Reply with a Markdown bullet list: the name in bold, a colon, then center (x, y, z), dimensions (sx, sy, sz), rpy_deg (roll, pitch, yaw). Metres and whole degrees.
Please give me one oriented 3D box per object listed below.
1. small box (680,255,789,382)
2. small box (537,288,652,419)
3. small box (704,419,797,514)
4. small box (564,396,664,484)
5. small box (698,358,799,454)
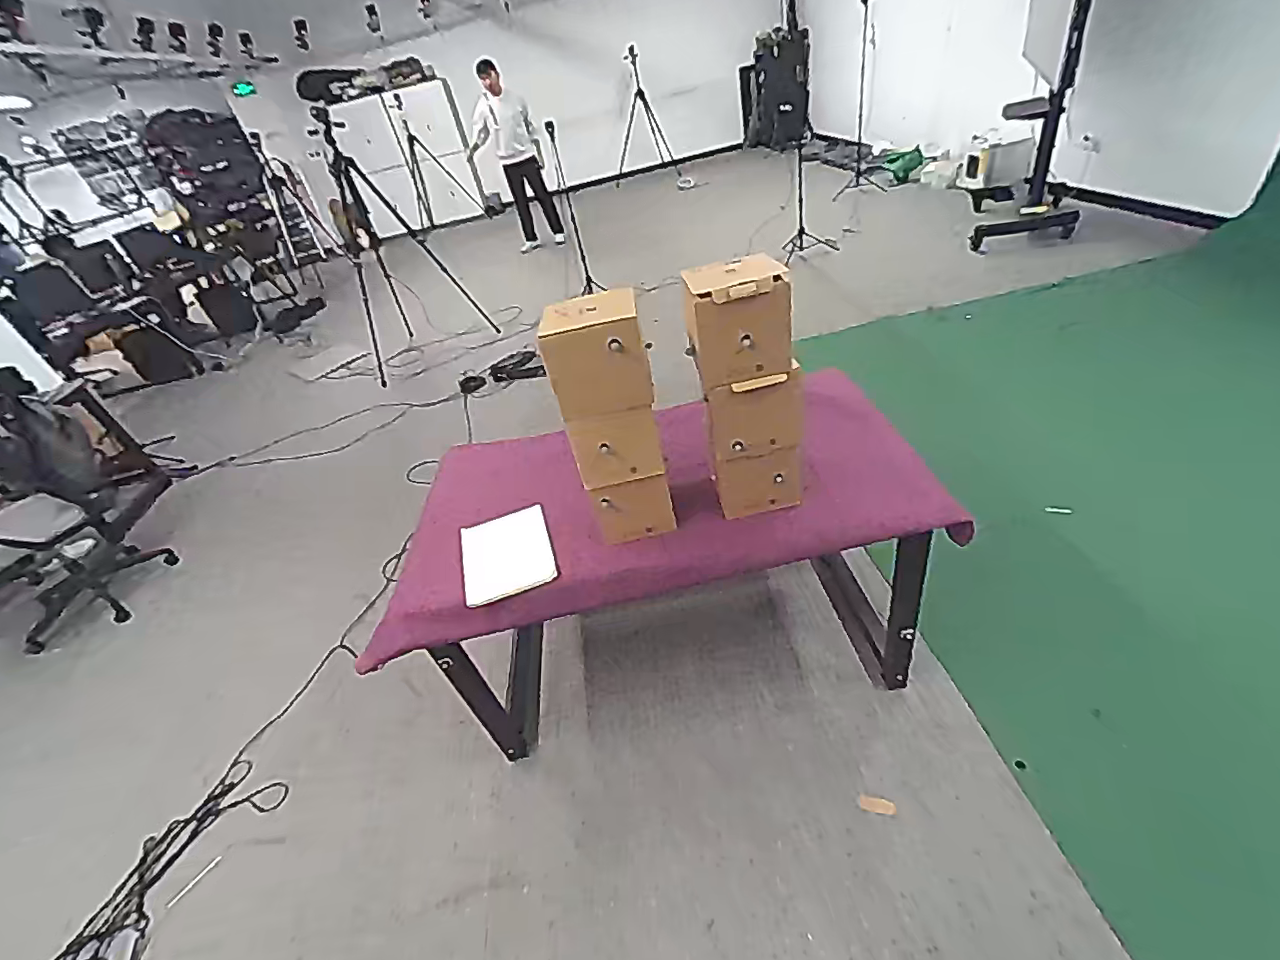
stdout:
- **small box**: center (0.175, -0.293, 1.004), dimensions (0.168, 0.176, 0.179), rpy_deg (-10, 37, 2)
- **small box**: center (-0.075, -0.234, 1.007), dimensions (0.179, 0.176, 0.168), rpy_deg (-11, 35, 5)
- **small box**: center (0.245, -0.040, 1.201), dimensions (0.168, 0.176, 0.179), rpy_deg (-11, 36, 2)
- **small box**: center (-0.051, -0.107, 1.110), dimensions (0.168, 0.176, 0.179), rpy_deg (-12, 36, 3)
- **small box**: center (0.219, -0.166, 1.101), dimensions (0.168, 0.176, 0.179), rpy_deg (-12, 36, 1)
